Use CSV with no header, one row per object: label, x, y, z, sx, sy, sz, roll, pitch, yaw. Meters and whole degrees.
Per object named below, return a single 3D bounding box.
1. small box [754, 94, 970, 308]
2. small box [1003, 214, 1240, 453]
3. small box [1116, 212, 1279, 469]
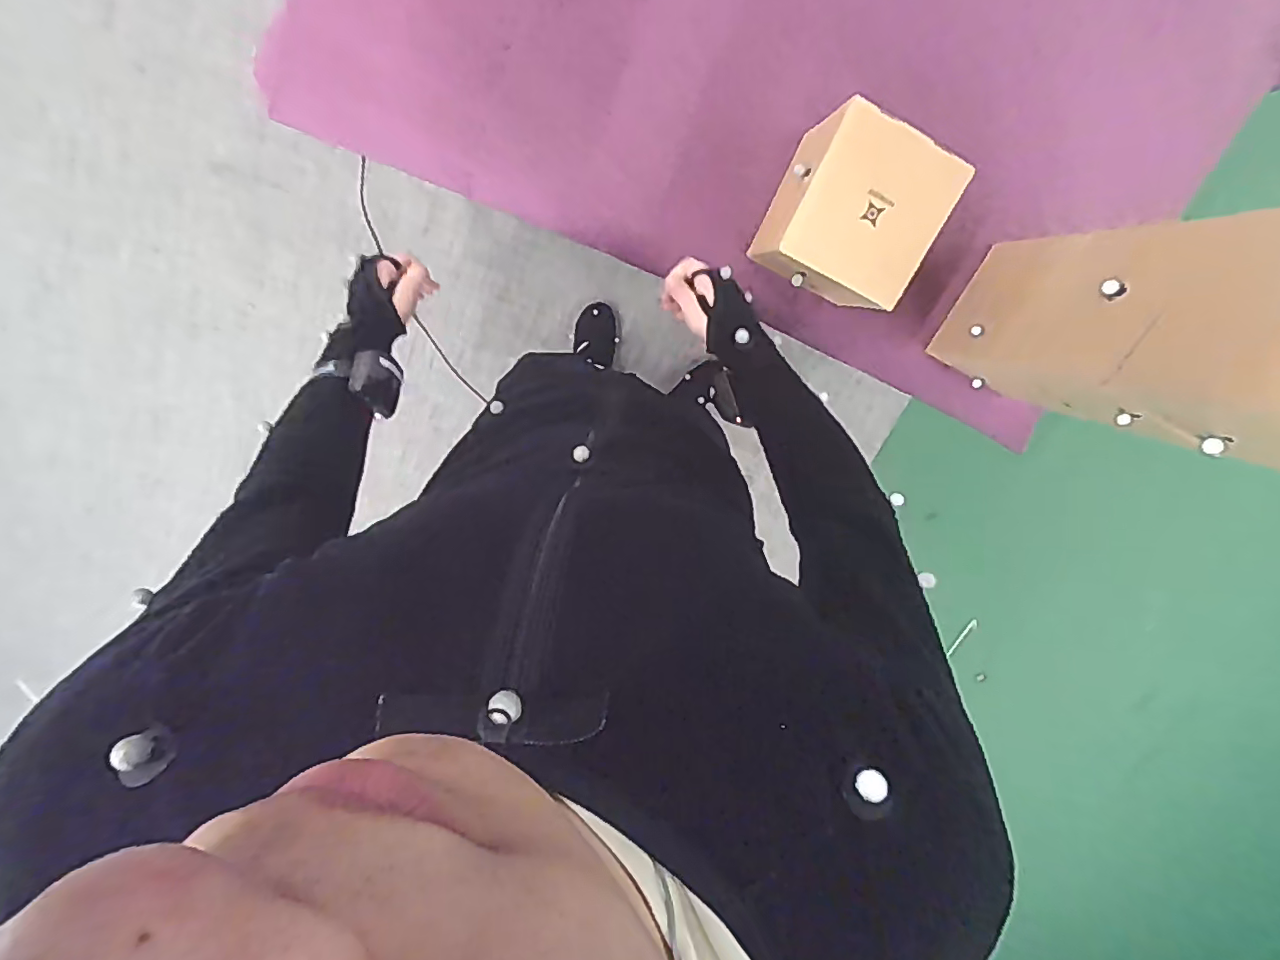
small box,0.264,-0.341,0.698,0.168,0.176,0.179,23,107,-10
small box,0.558,-0.159,0.597,0.168,0.176,0.179,25,107,-9
small box,0.563,-0.107,0.441,0.168,0.176,0.179,24,108,-9
